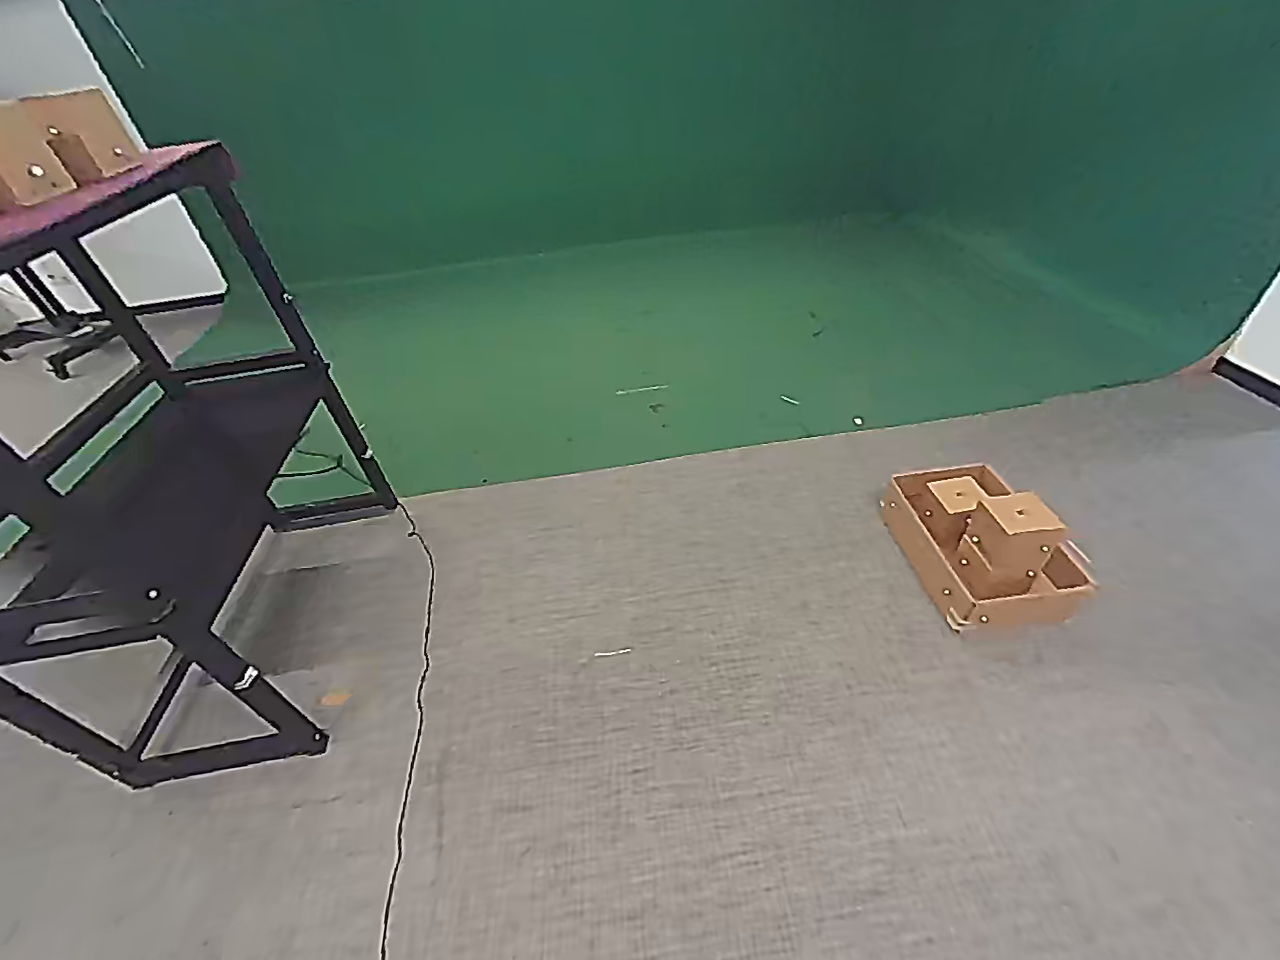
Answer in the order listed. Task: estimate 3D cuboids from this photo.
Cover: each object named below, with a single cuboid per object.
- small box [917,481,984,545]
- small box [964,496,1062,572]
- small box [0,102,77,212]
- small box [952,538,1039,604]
[{"bbox_3d":[1.164,0.128,2.023,0.179,0.176,0.168,-8,42,-1],"label":"small box"},{"bbox_3d":[1.177,0.175,1.723,0.179,0.176,0.168,-7,39,1],"label":"small box"},{"bbox_3d":[-1.336,-0.647,1.095,0.179,0.176,0.168,-9,41,-2],"label":"small box"},{"bbox_3d":[1.187,0.300,1.828,0.179,0.176,0.168,-8,41,-2],"label":"small box"}]
